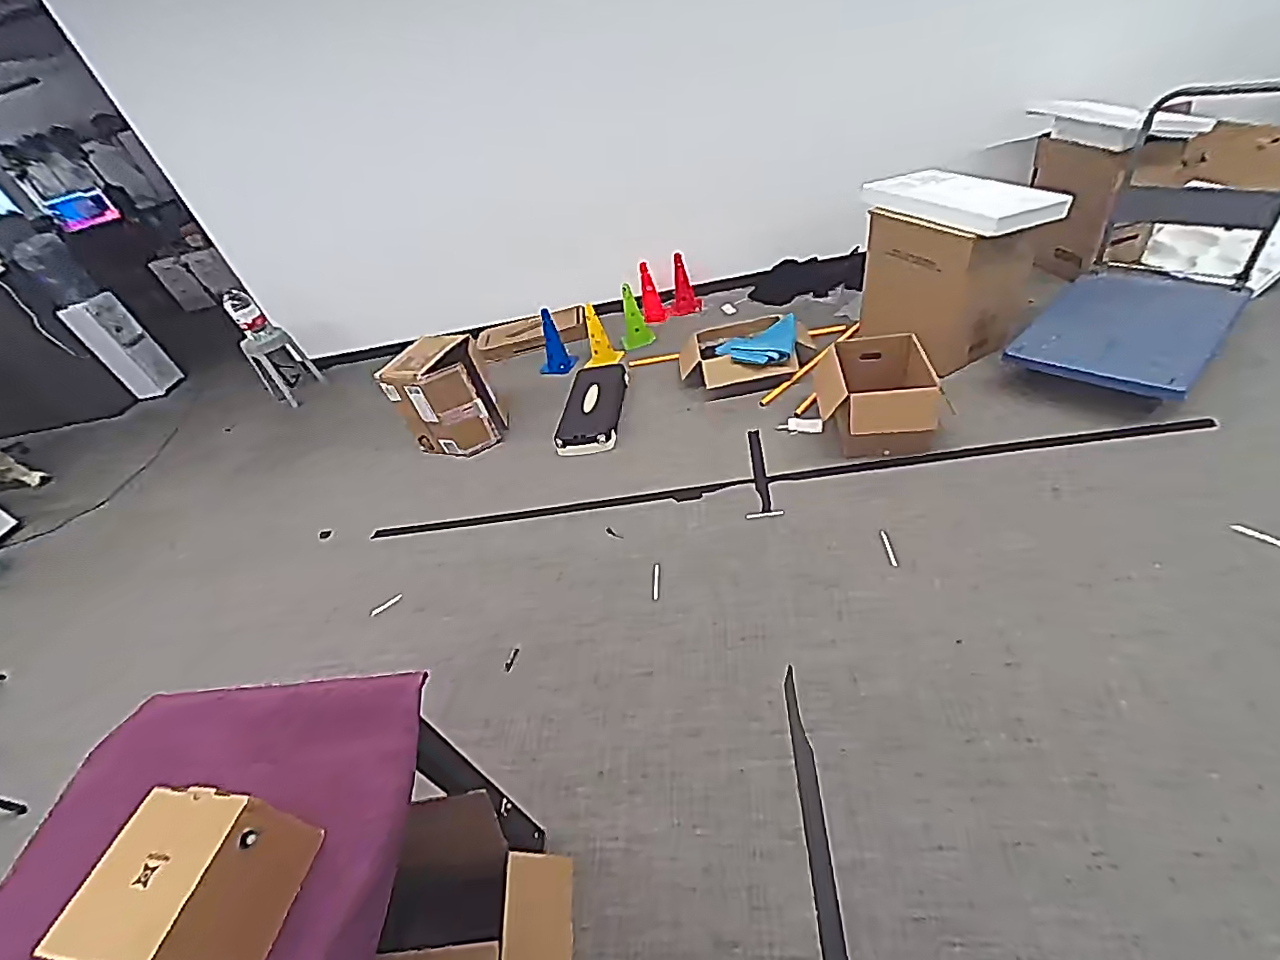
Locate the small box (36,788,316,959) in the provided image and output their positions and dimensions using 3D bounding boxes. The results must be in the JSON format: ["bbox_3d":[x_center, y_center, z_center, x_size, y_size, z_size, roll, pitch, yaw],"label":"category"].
[{"bbox_3d":[-0.564,0.522,0.691,0.168,0.176,0.179,-4,41,14],"label":"small box"}]
